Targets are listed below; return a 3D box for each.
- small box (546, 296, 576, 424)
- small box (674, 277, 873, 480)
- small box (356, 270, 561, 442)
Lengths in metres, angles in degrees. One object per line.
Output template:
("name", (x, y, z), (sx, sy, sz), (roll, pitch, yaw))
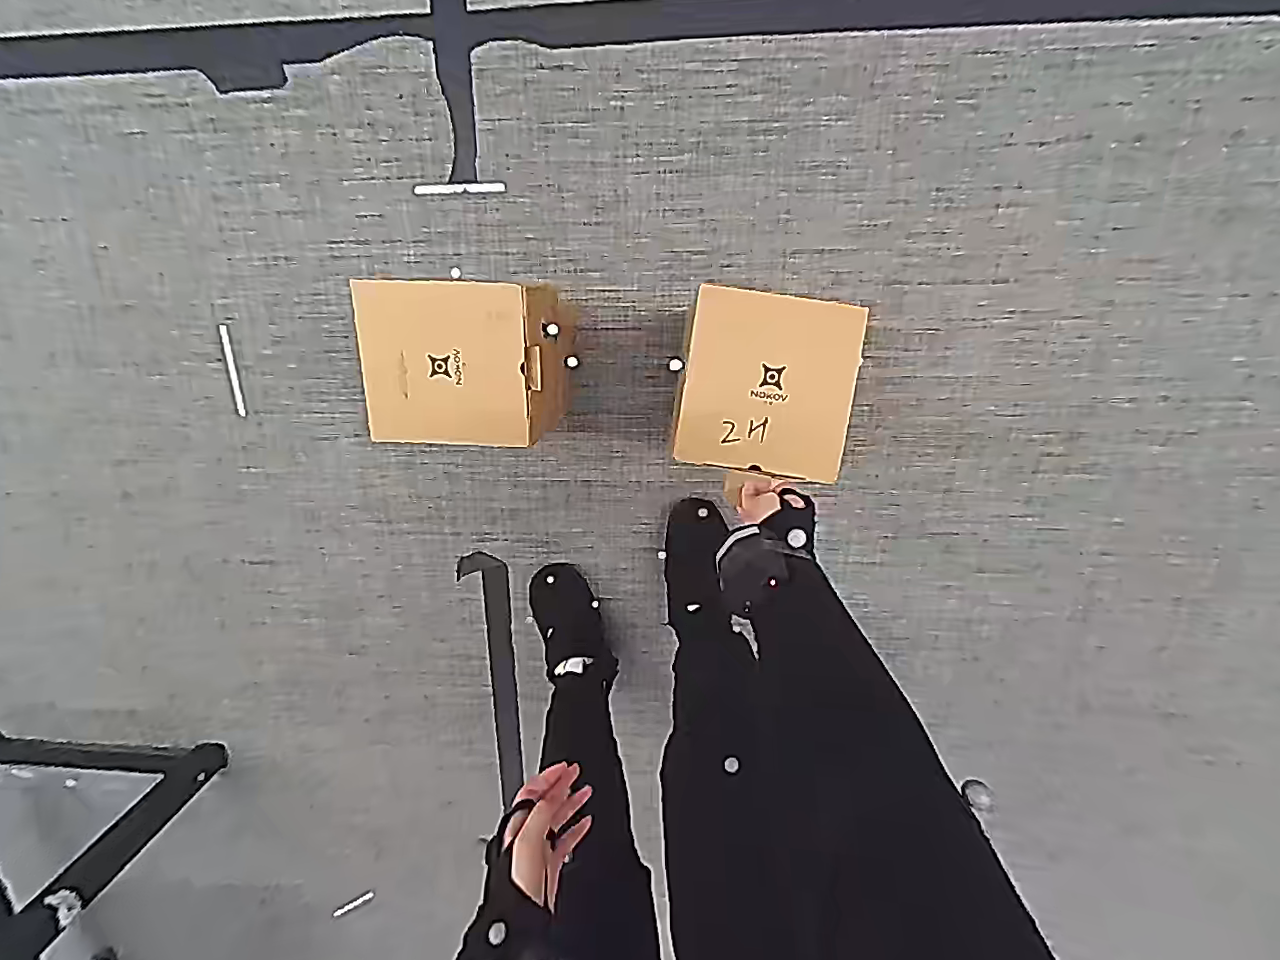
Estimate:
("small box", (-0.191, -0.187, 0.780), (0.179, 0.176, 0.168), (6, 108, 0))
("small box", (0.131, -0.106, 0.603), (0.168, 0.176, 0.179), (9, 98, 1))
("small box", (-0.189, -0.147, 0.621), (0.179, 0.176, 0.168), (3, 108, 3))
